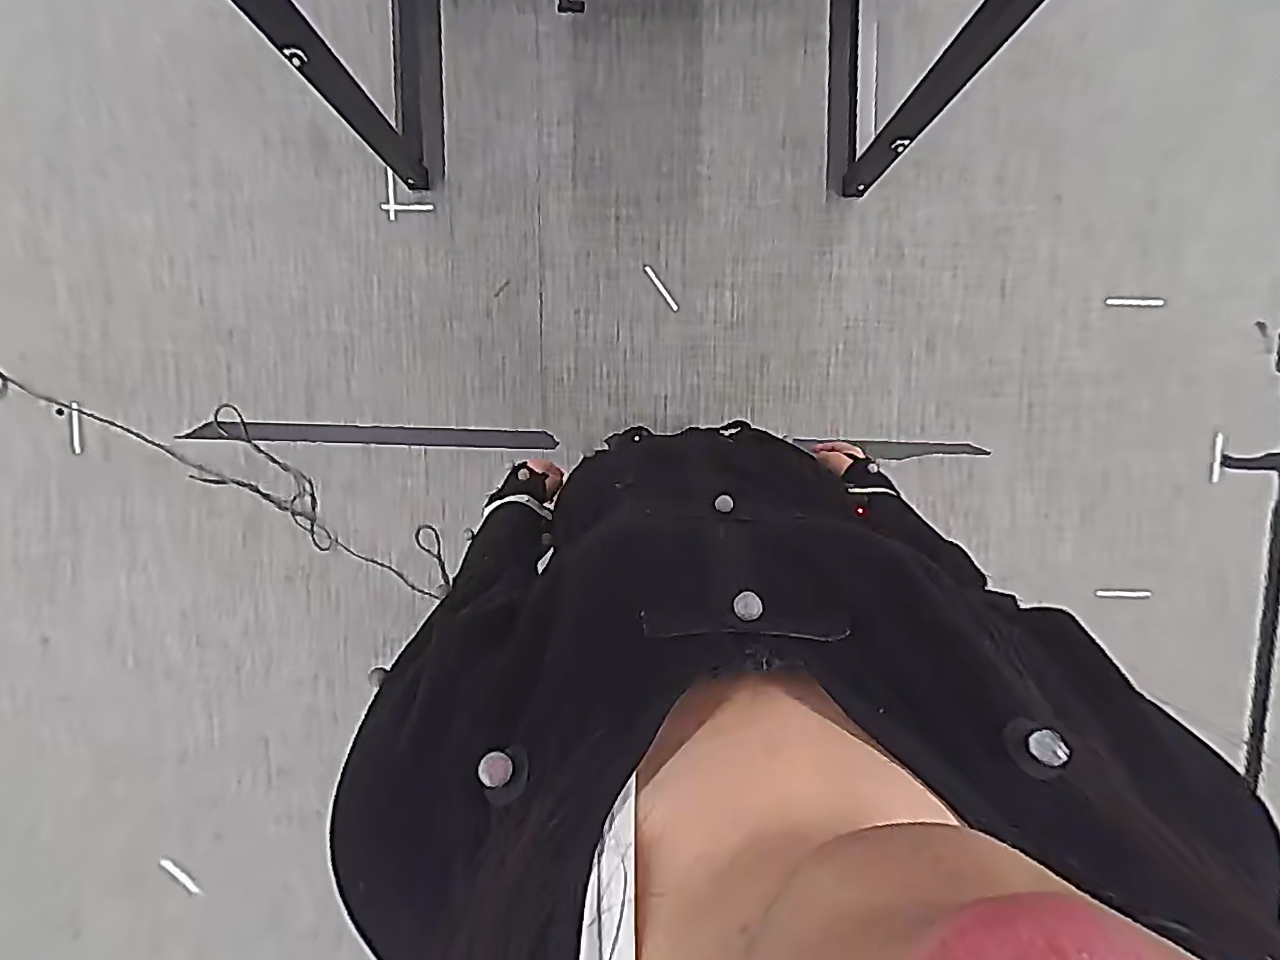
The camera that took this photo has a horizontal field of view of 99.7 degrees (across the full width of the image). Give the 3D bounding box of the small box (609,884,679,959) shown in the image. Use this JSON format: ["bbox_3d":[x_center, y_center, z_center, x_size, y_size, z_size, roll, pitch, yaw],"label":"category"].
[{"bbox_3d":[0.012,1.270,1.505,0.168,0.176,0.179,-13,94,0],"label":"small box"}]

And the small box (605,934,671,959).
[{"bbox_3d":[0.008,1.291,1.342,0.168,0.176,0.179,-13,95,-1],"label":"small box"}]
